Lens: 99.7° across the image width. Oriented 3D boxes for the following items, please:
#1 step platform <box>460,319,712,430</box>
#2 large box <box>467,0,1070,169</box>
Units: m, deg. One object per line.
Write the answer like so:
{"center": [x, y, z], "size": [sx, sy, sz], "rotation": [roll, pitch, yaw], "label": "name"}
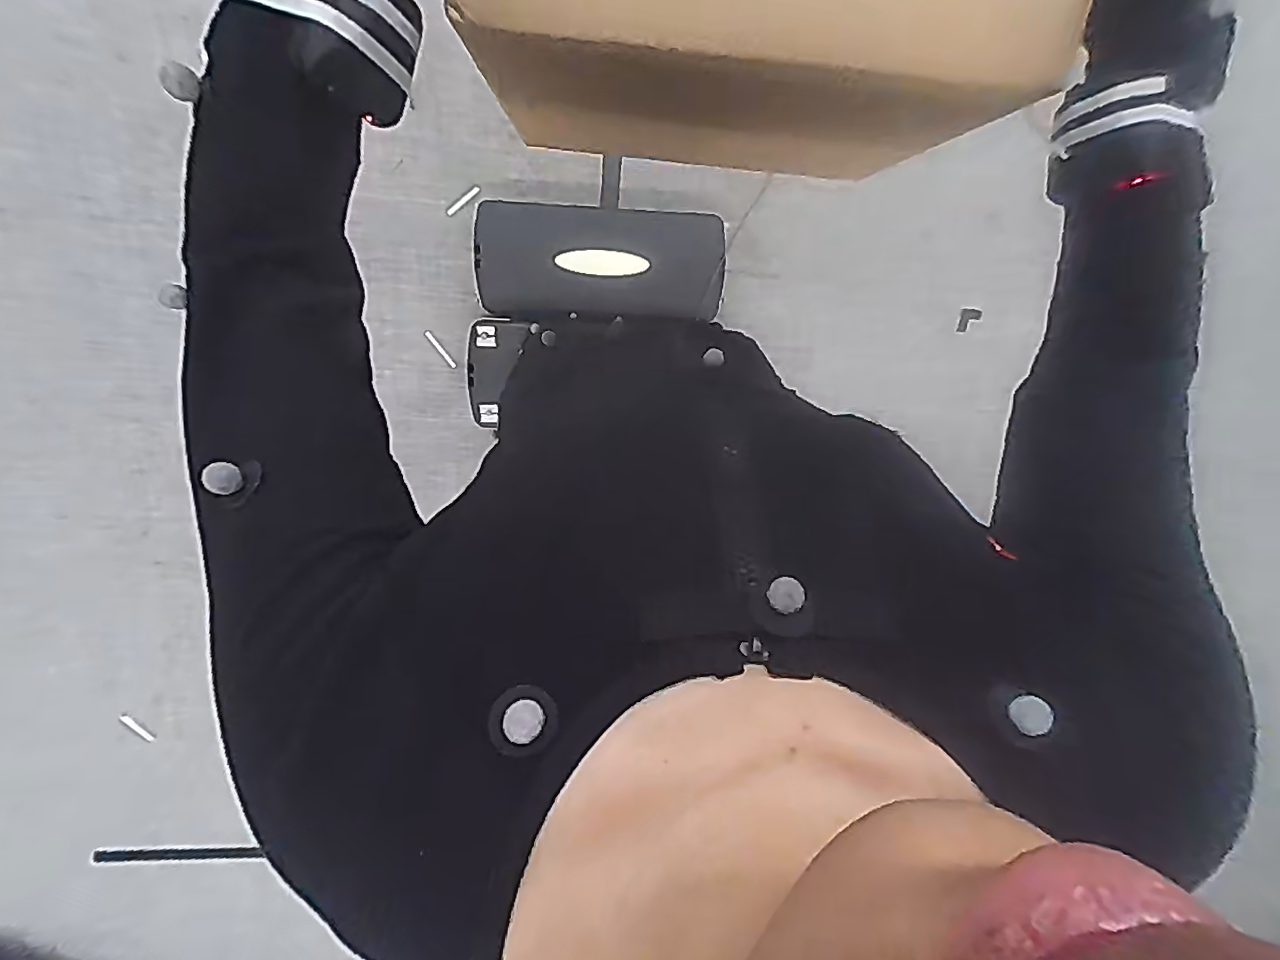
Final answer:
{"center": [-0.142, -0.291, 1.507], "size": [0.684, 0.204, 0.286], "rotation": [0, 105, -5], "label": "step platform"}
{"center": [0.083, -0.474, 0.449], "size": [0.408, 0.320, 0.320], "rotation": [2, 110, -5], "label": "large box"}
